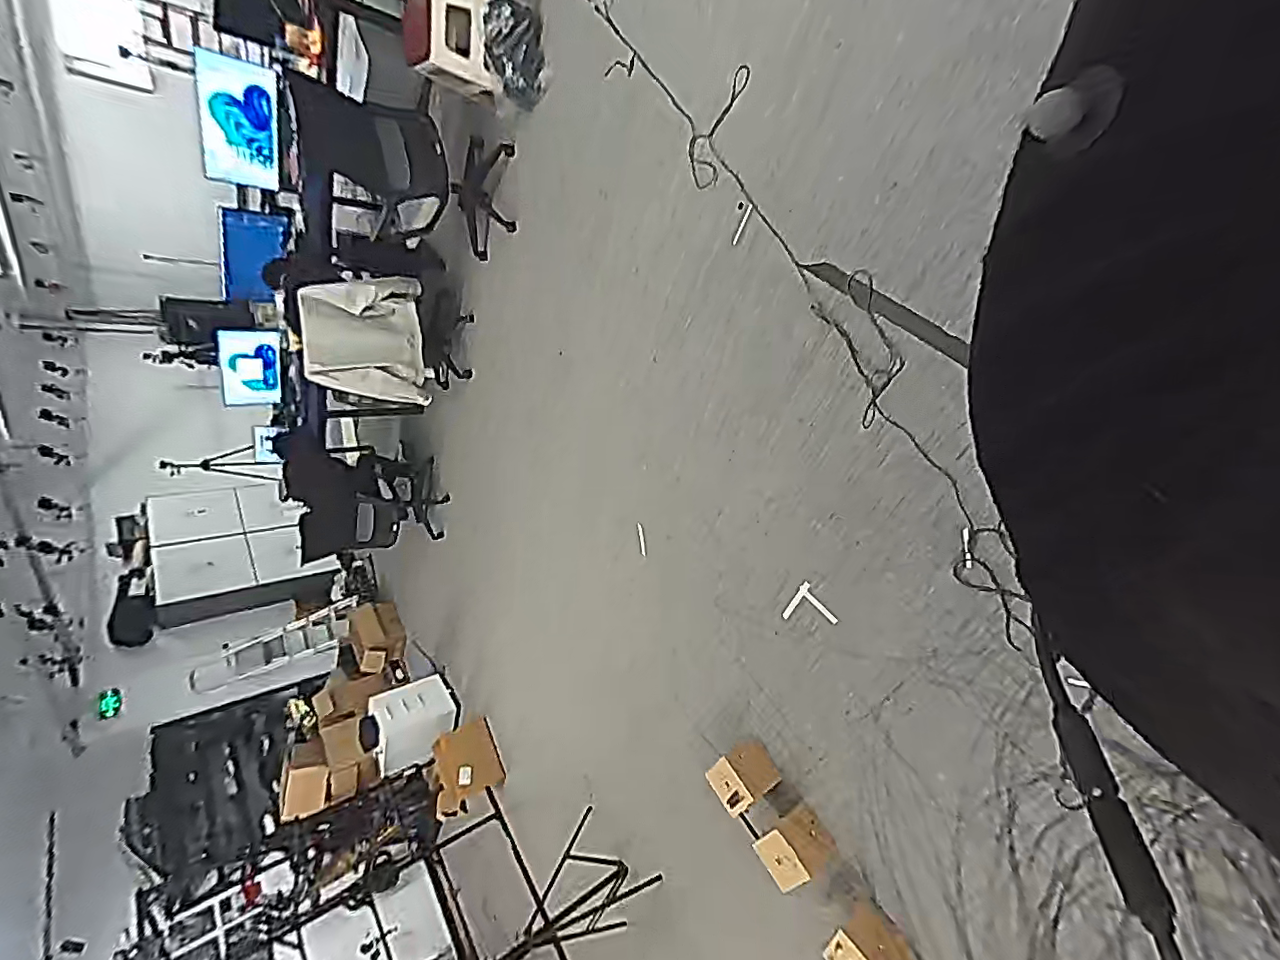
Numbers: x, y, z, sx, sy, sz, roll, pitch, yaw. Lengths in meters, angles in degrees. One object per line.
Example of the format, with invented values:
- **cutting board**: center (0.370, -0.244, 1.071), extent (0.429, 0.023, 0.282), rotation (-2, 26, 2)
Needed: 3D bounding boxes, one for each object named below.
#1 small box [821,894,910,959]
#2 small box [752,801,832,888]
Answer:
- **small box**: center (0.715, 1.473, 1.707), extent (0.179, 0.176, 0.168), rotation (36, 123, 38)
- **small box**: center (0.530, 1.260, 1.876), extent (0.168, 0.176, 0.179), rotation (50, 131, 30)
